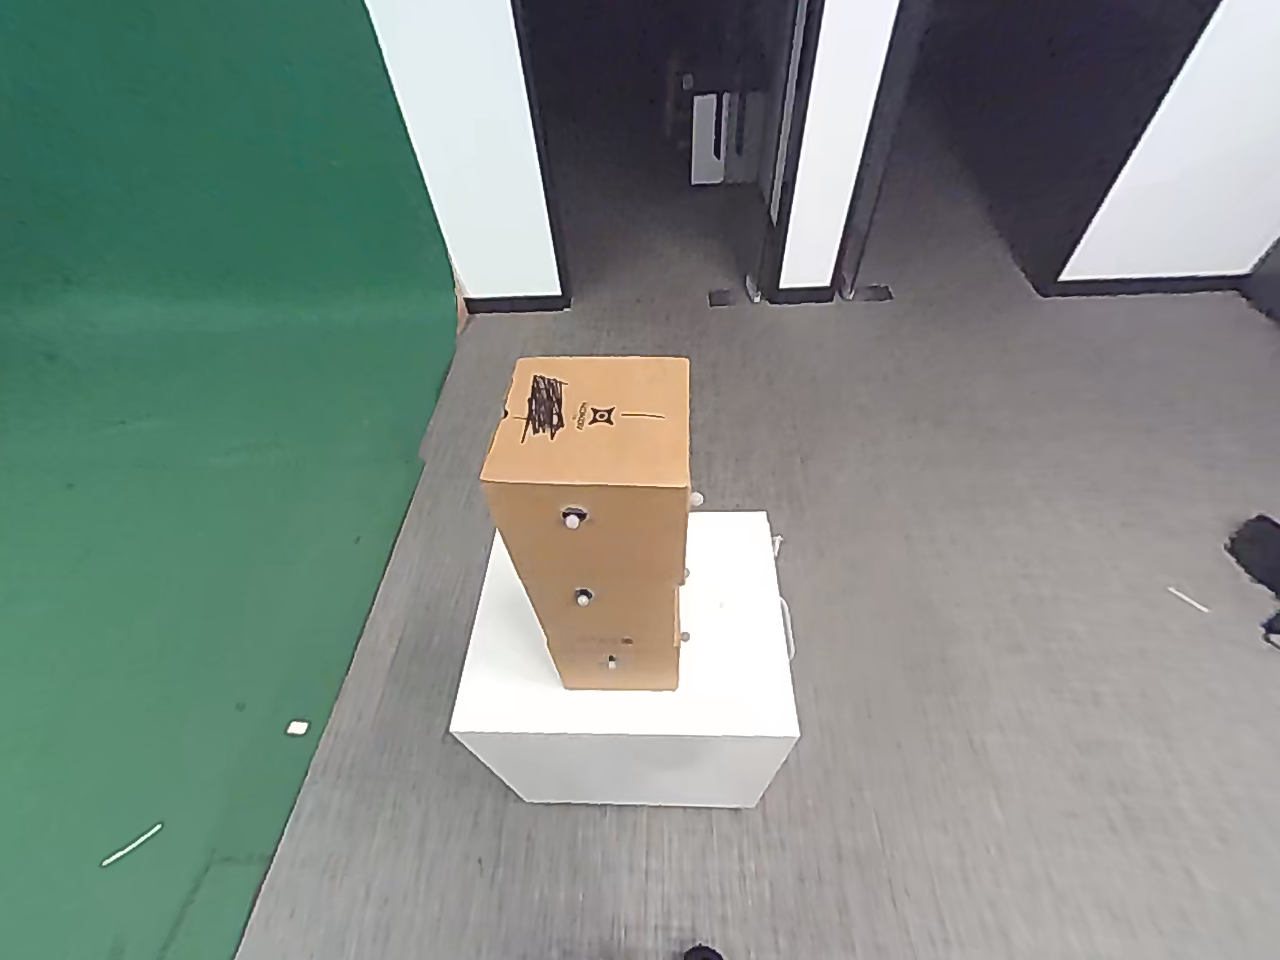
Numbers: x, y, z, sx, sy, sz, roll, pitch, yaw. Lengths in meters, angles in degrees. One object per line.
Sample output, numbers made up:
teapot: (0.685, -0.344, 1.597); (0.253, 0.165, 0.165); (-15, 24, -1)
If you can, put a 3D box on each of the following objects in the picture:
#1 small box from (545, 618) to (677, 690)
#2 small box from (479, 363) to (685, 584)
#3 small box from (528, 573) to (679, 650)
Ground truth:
small box: (-0.033, 0.207, 0.814); (0.179, 0.176, 0.168); (0, 50, 2)
small box: (-0.042, -0.004, 0.562); (0.179, 0.176, 0.168); (1, 50, 4)
small box: (-0.038, 0.100, 0.693); (0.168, 0.176, 0.179); (-1, 51, 1)
